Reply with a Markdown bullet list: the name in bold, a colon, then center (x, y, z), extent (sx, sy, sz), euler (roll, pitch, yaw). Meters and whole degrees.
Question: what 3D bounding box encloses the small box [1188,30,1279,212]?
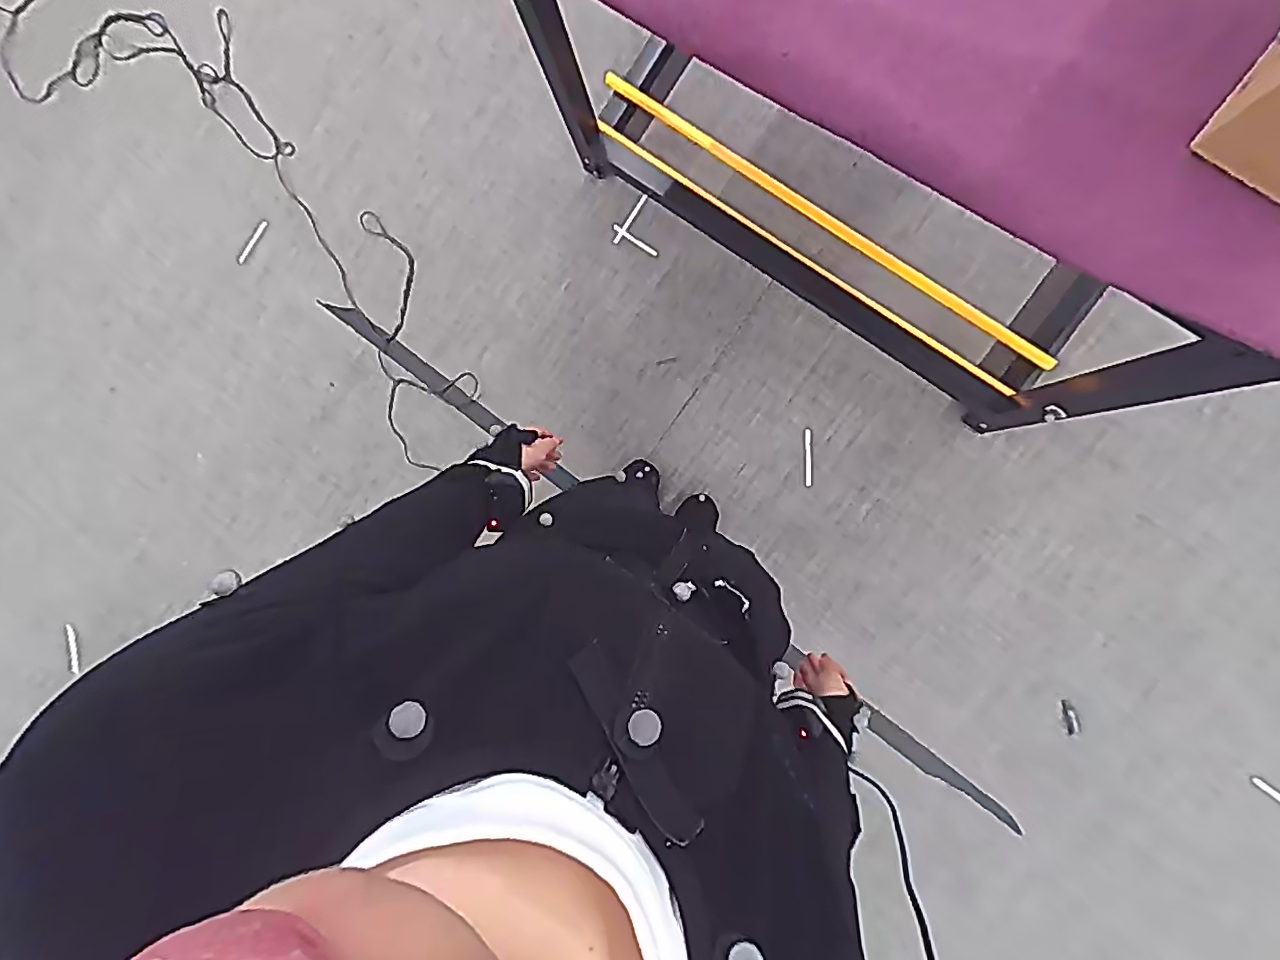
- **small box**: center (0.672, -0.355, 0.472), extent (0.179, 0.176, 0.168), euler (38, 93, 6)
